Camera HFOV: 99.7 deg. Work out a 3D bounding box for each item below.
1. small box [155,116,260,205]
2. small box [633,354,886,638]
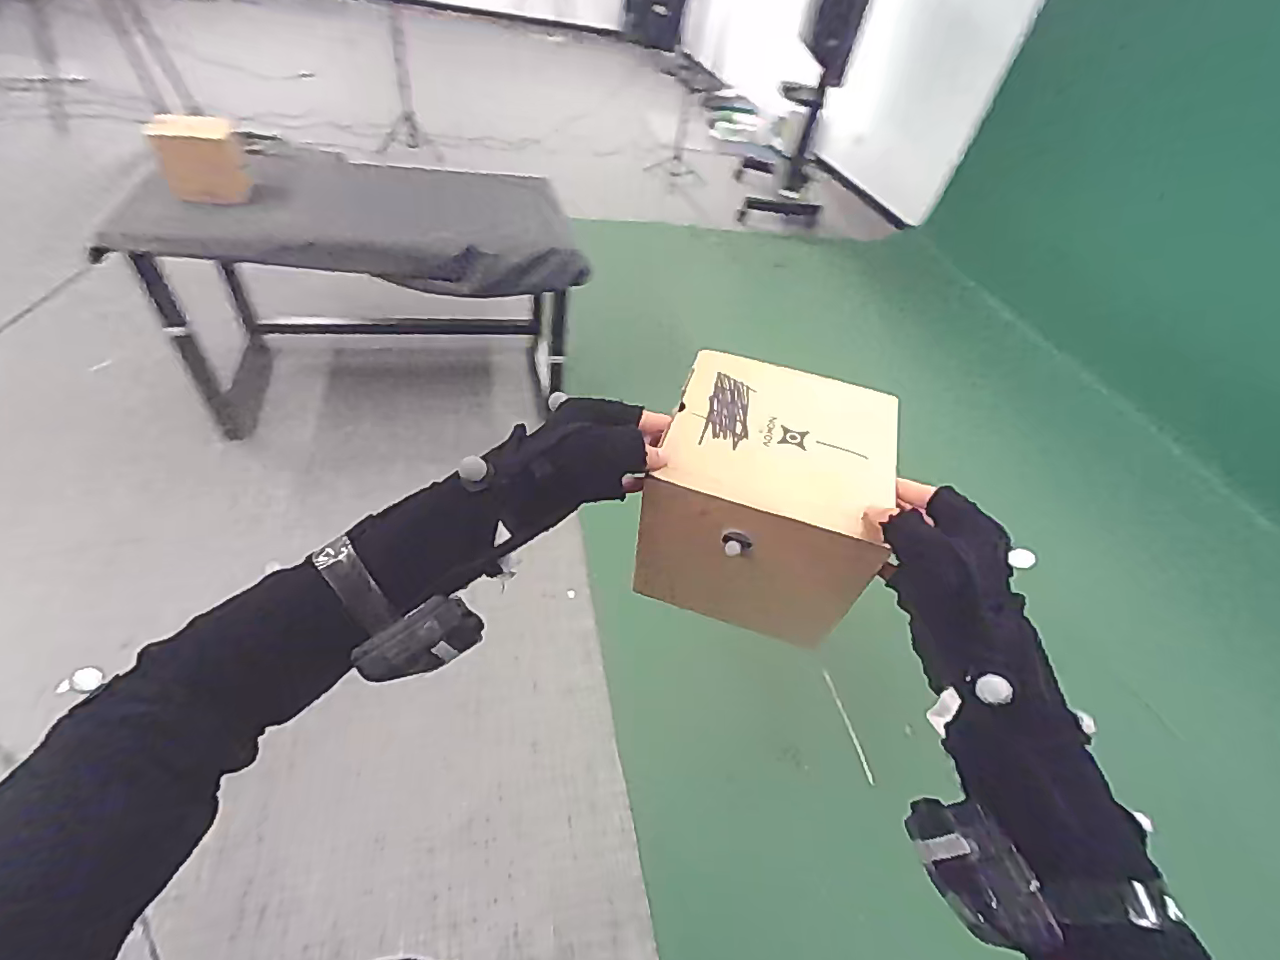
[{"bbox_3d":[-1.209,-0.899,1.529,0.179,0.176,0.168,-6,49,-19],"label":"small box"},{"bbox_3d":[0.099,0.018,0.487,0.179,0.176,0.168,16,50,8],"label":"small box"}]
